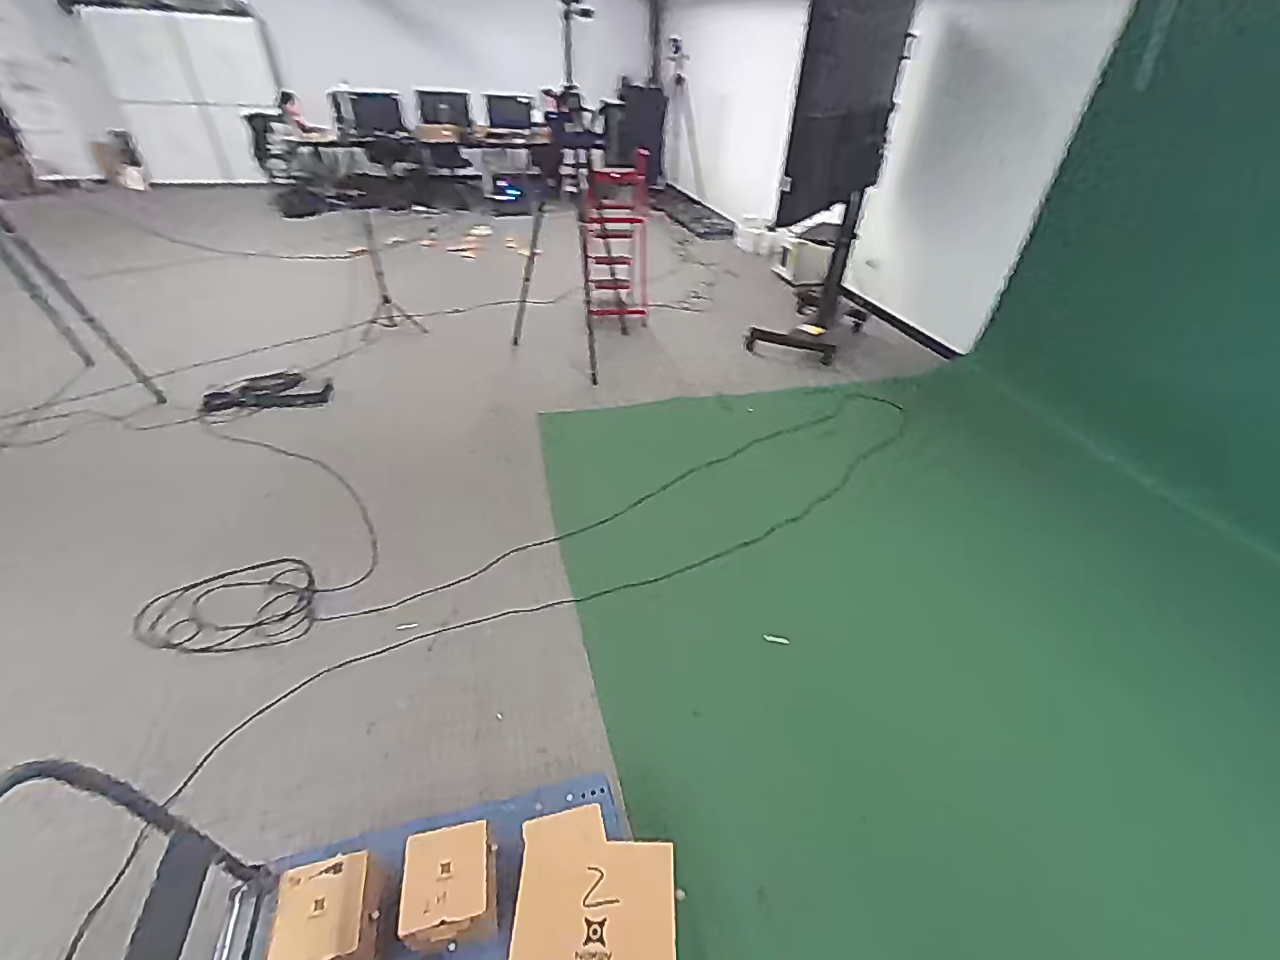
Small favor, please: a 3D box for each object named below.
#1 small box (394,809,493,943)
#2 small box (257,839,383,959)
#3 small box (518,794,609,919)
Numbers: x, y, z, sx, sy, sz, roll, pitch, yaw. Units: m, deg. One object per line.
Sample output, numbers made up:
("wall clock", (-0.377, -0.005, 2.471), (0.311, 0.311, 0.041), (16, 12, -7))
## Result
("small box", (-0.410, 0.845, 1.158), (0.168, 0.176, 0.179), (-6, 40, -11))
("small box", (-0.638, 0.875, 1.103), (0.168, 0.176, 0.179), (-7, 40, -13))
("small box", (-0.168, 0.832, 1.193), (0.179, 0.176, 0.168), (-7, 41, -12))
